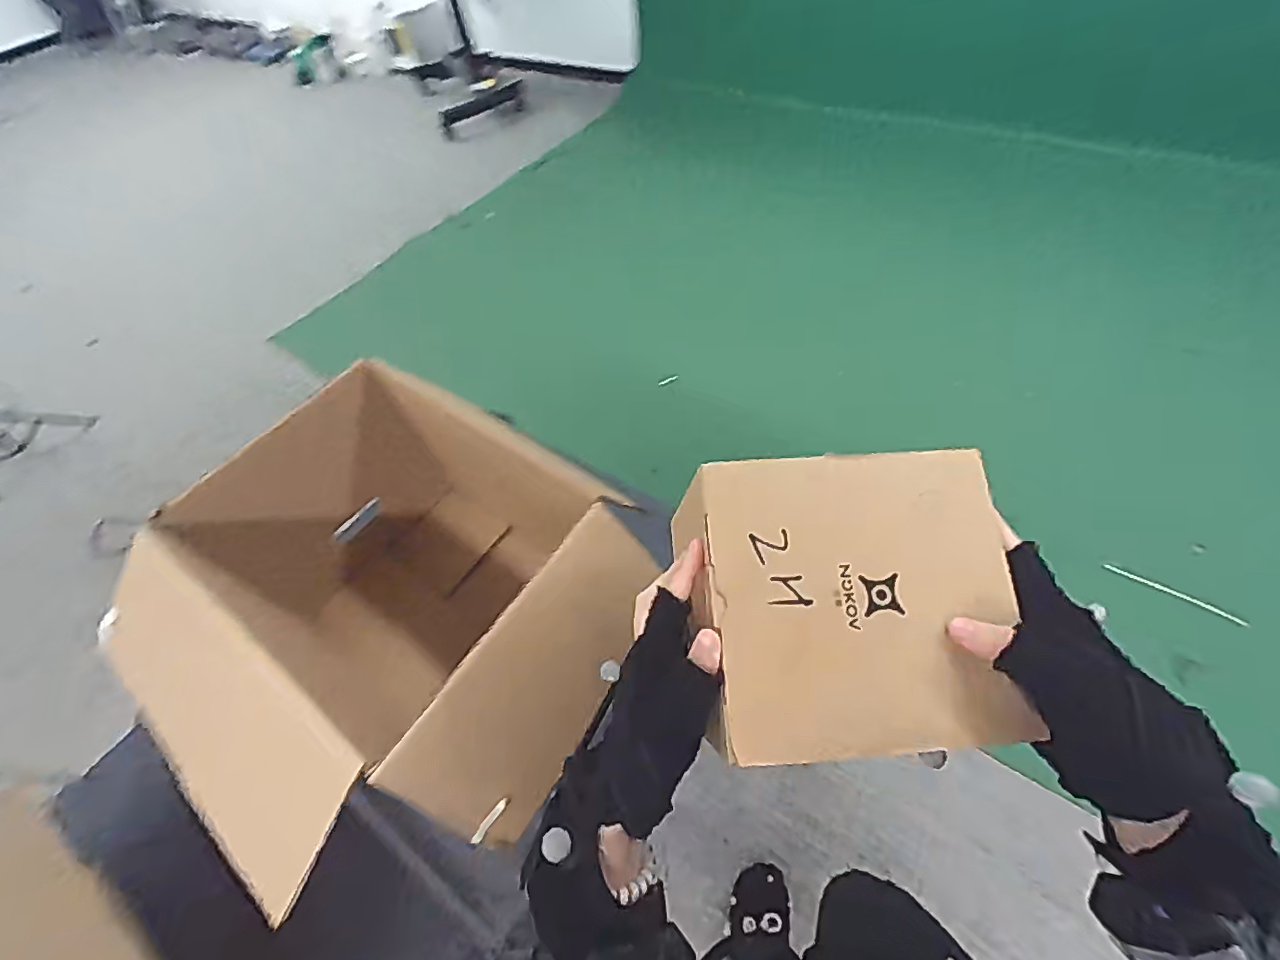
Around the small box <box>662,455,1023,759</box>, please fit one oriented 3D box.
[{"bbox_3d":[0.116,0.087,0.388,0.179,0.176,0.168,-3,74,-4],"label":"small box"}]
